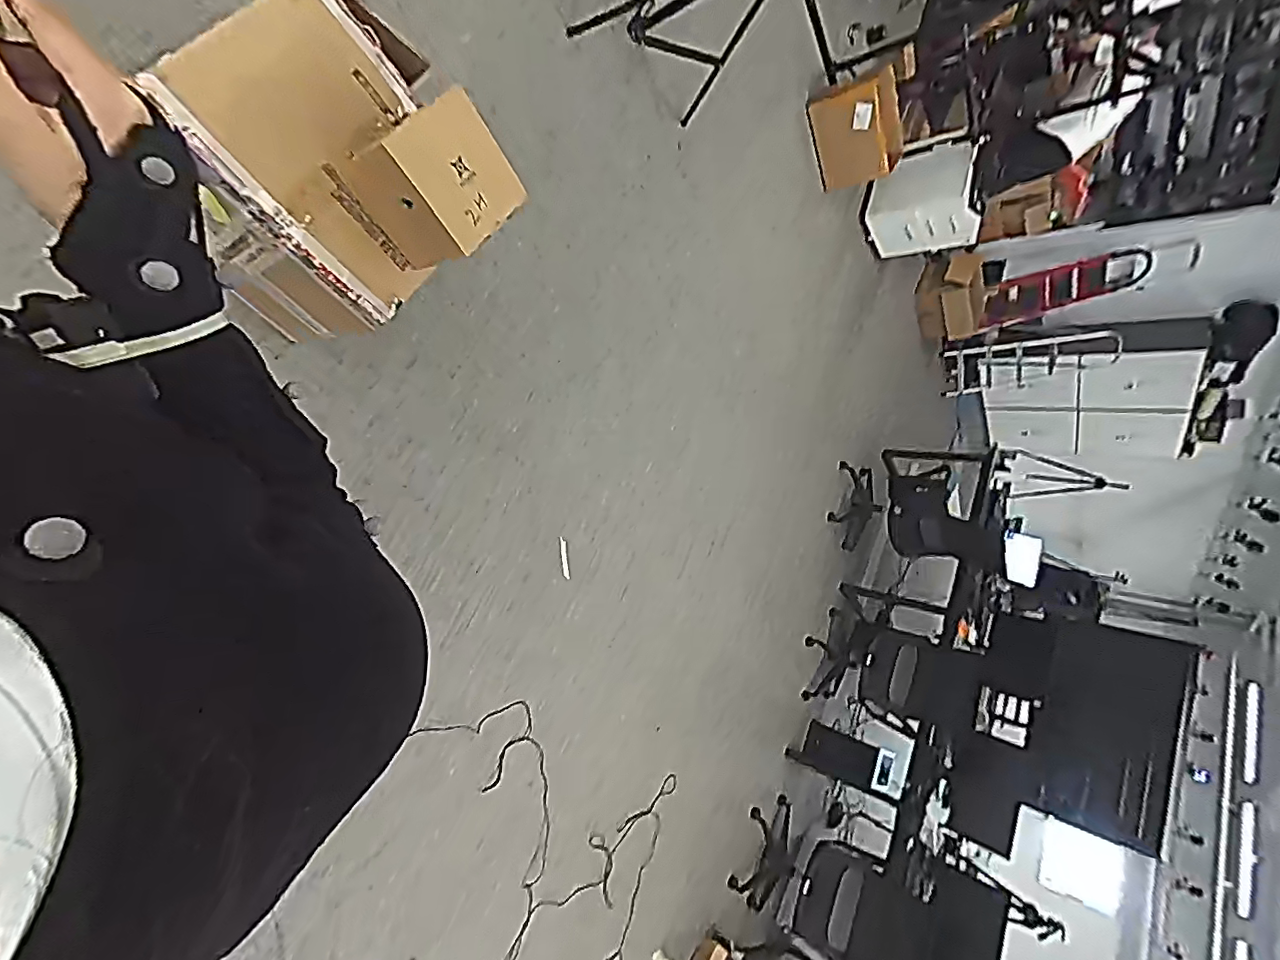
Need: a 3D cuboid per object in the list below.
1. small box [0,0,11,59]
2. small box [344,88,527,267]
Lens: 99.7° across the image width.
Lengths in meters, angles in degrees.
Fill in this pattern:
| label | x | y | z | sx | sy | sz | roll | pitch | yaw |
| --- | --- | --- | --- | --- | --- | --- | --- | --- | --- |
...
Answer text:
| label | x | y | z | sx | sy | sz | roll | pitch | yaw |
| --- | --- | --- | --- | --- | --- | --- | --- | --- | --- |
| small box | -0.385 | -0.294 | 0.207 | 0.168 | 0.176 | 0.179 | -13 | 122 | -44 |
| small box | -0.322 | -0.462 | 0.852 | 0.168 | 0.176 | 0.179 | -57 | 135 | -23 |
